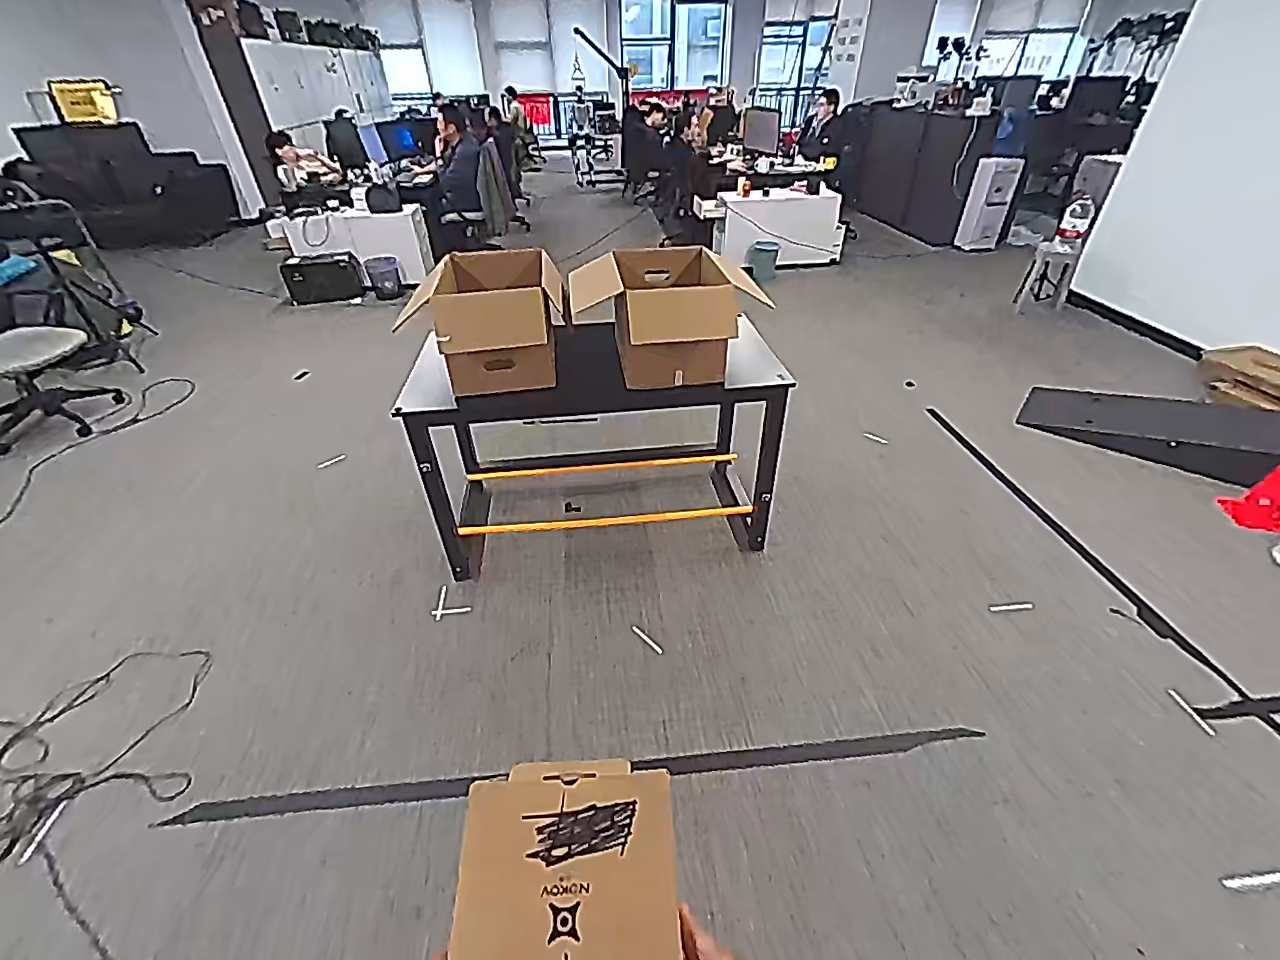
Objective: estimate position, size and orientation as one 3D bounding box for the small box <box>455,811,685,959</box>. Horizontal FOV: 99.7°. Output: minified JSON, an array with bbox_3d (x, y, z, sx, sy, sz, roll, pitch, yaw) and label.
[{"bbox_3d":[-0.050,0.393,0.443,0.168,0.176,0.179,-3,48,-2],"label":"small box"}]
